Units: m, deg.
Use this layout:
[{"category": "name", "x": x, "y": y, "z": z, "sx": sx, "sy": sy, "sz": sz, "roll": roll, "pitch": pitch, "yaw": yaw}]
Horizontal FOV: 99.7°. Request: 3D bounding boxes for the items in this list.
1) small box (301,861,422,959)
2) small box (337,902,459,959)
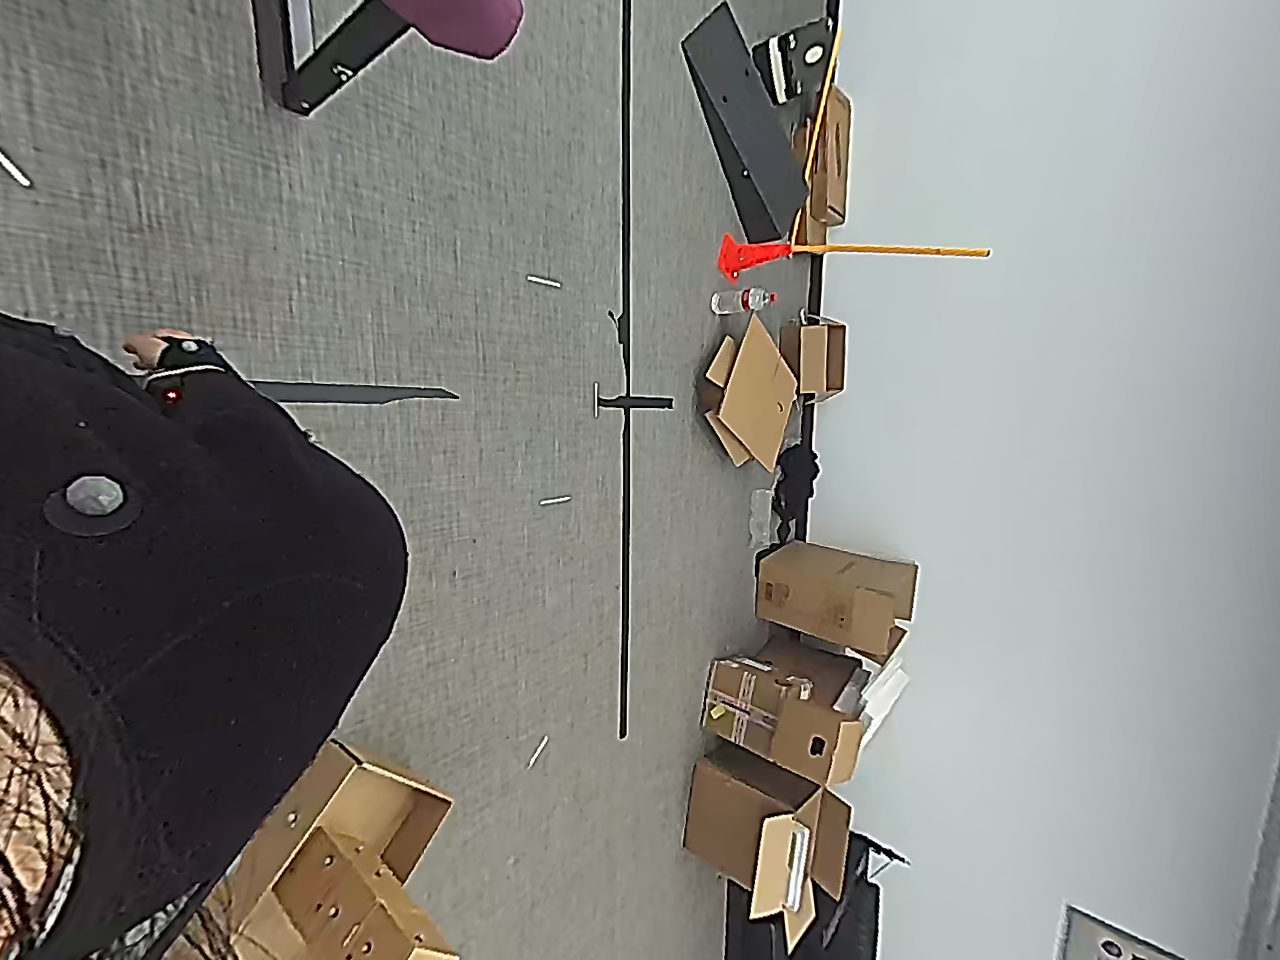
[{"category": "small box", "x": -0.691, "y": 1.088, "z": 1.341, "sx": 0.168, "sy": 0.176, "sz": 0.179, "roll": -55, "pitch": 135, "yaw": -29}, {"category": "small box", "x": -0.564, "y": 1.118, "z": 1.243, "sx": 0.168, "sy": 0.176, "sz": 0.179, "roll": -55, "pitch": 135, "yaw": -29}]
